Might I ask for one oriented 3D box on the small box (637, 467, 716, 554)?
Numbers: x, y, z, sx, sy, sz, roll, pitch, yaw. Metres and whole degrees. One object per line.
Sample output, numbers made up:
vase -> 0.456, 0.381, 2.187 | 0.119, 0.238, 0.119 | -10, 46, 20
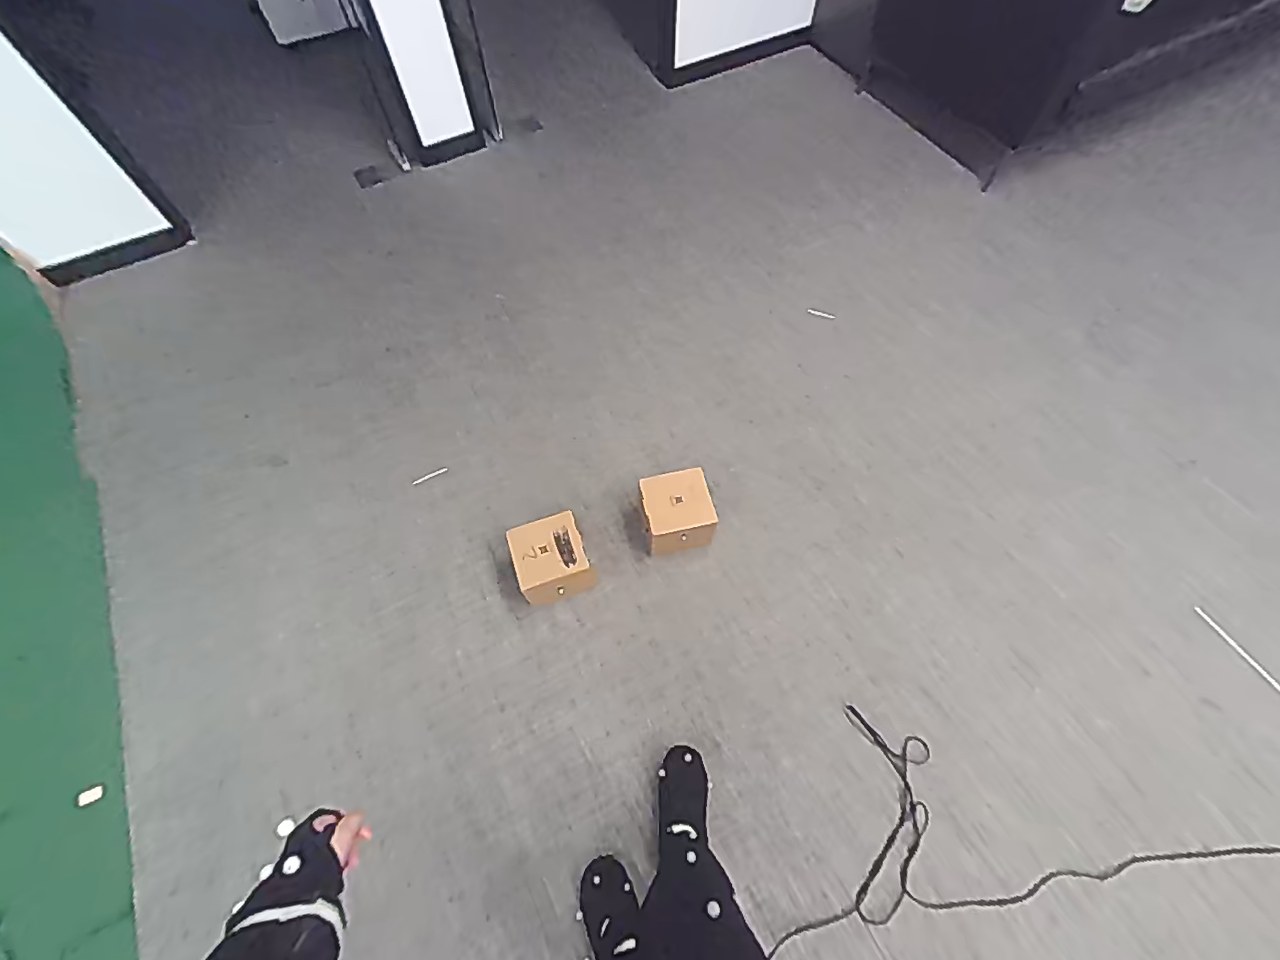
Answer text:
small box -> 0.094, 0.089, 1.463 | 0.179, 0.176, 0.168 | -11, 64, -6
